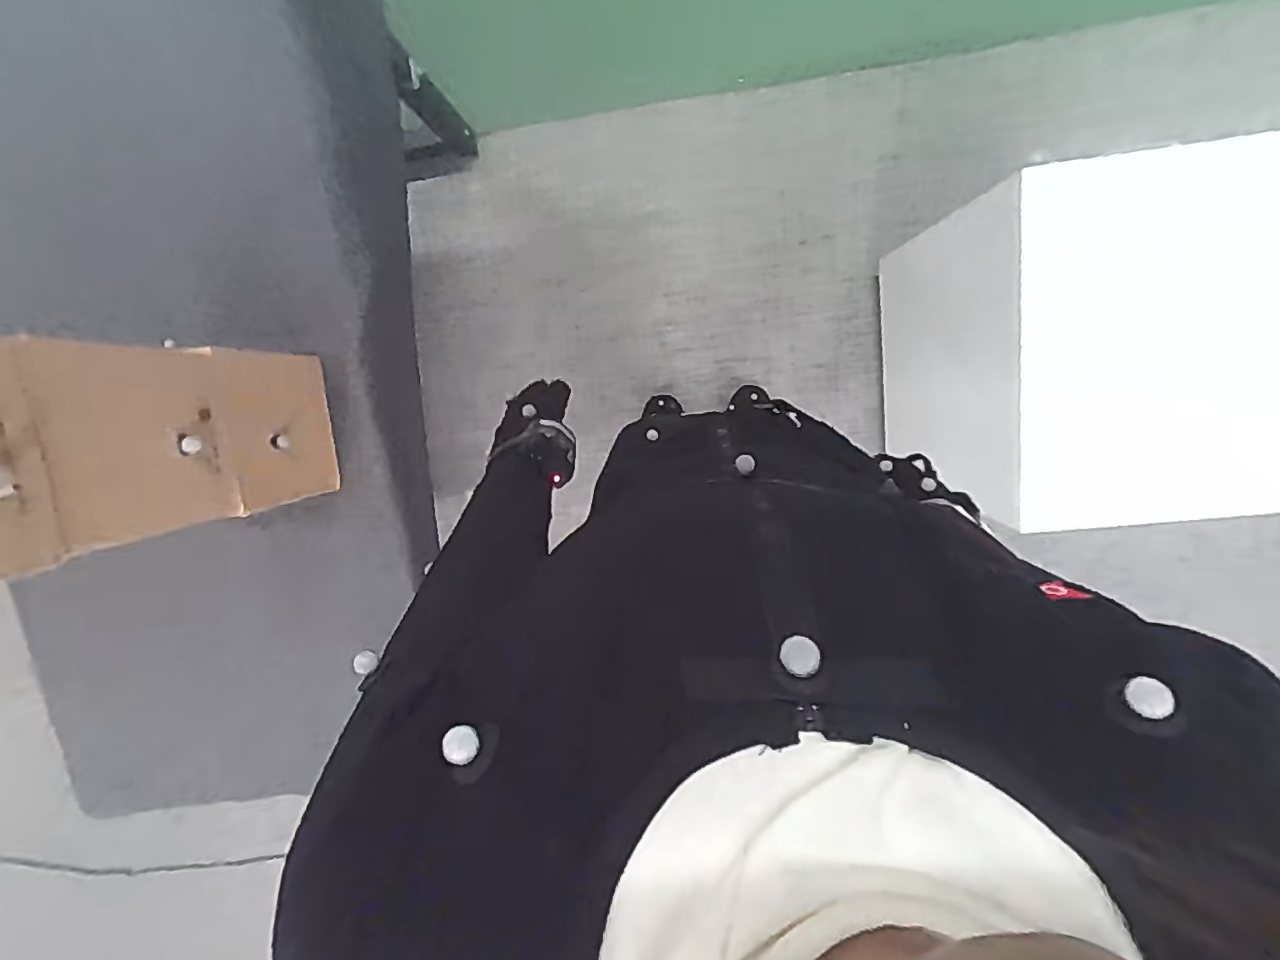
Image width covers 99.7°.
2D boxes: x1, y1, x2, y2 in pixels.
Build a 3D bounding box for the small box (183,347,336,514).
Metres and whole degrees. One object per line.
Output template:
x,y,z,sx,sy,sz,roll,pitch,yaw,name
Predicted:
-0.498,-0.063,0.649,0.168,0.176,0.179,-3,100,6,small box
